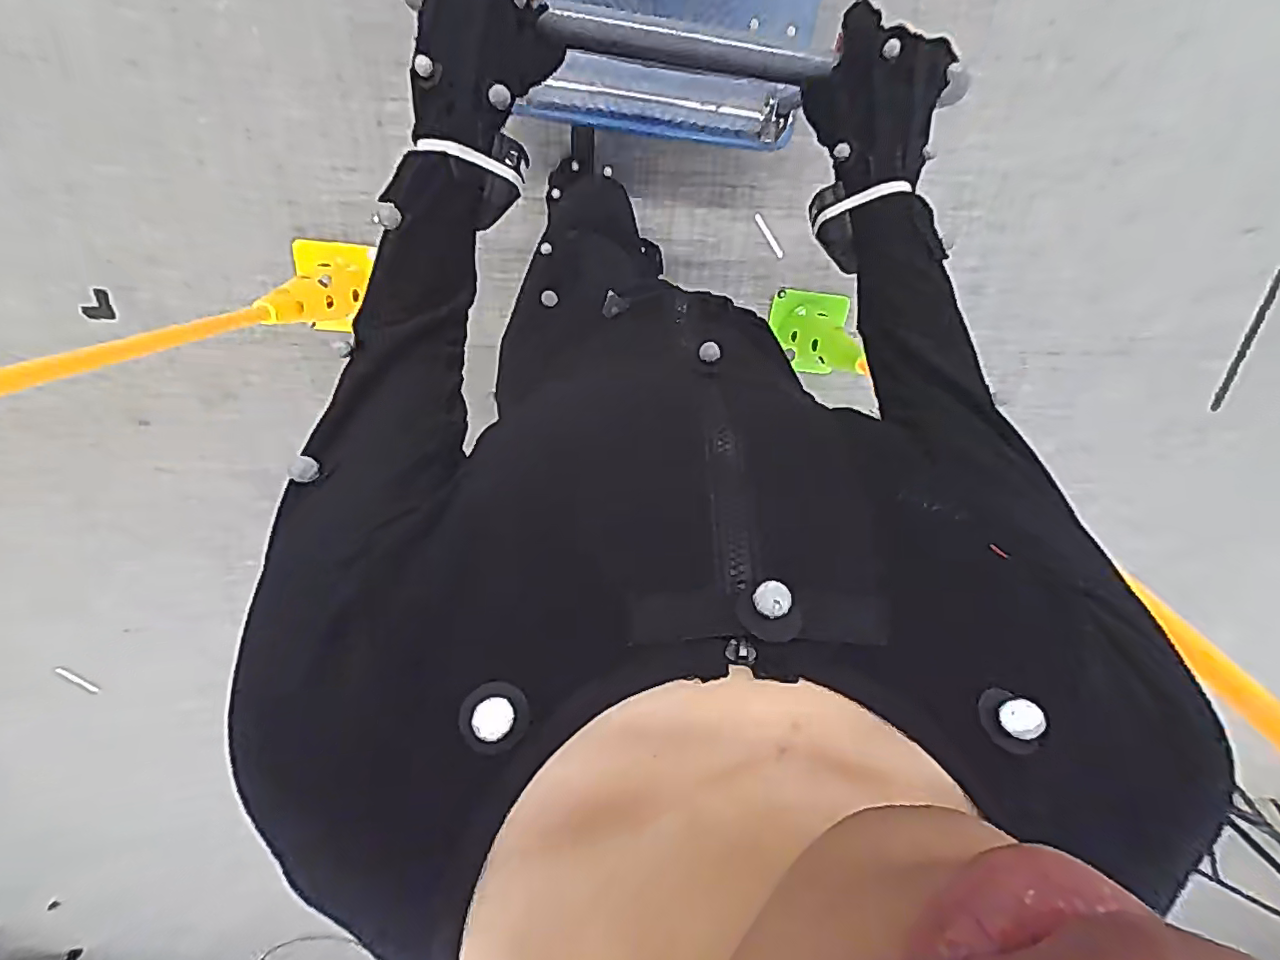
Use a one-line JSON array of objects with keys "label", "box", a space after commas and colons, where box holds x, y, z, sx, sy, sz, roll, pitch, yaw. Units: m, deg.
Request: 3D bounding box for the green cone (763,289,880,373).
[{"label": "green cone", "box": [0.441, -0.307, 1.240, 0.202, 0.368, 0.200, 3, 116, -7]}]
